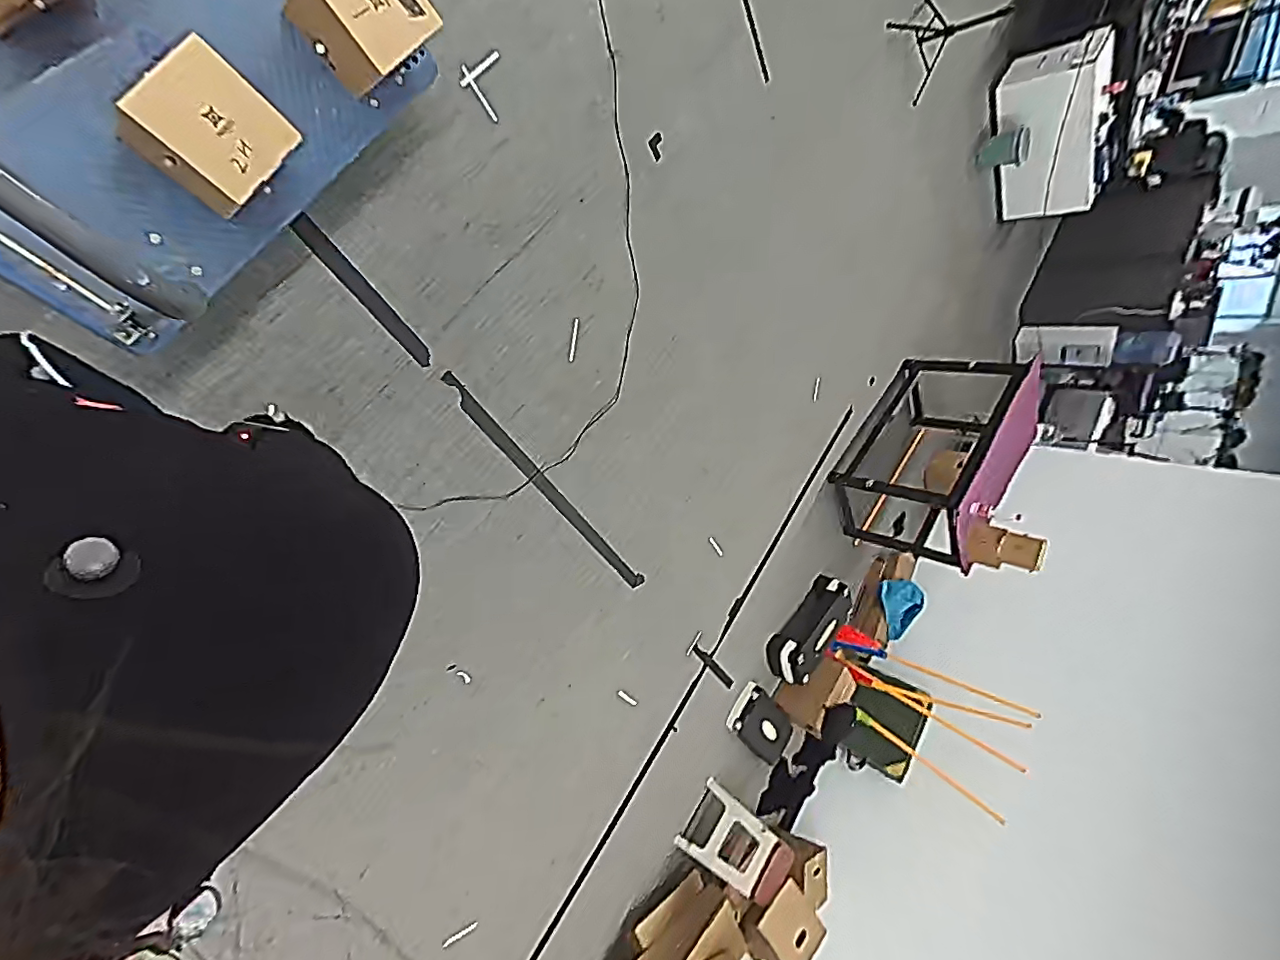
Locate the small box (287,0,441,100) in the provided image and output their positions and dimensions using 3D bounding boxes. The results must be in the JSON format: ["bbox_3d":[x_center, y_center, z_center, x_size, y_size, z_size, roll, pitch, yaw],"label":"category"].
[{"bbox_3d":[-0.521,-0.863,1.014,0.179,0.176,0.168,-55,133,-16],"label":"small box"}]

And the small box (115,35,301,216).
[{"bbox_3d":[-0.719,-0.573,0.902,0.179,0.176,0.168,44,71,-43],"label":"small box"}]
